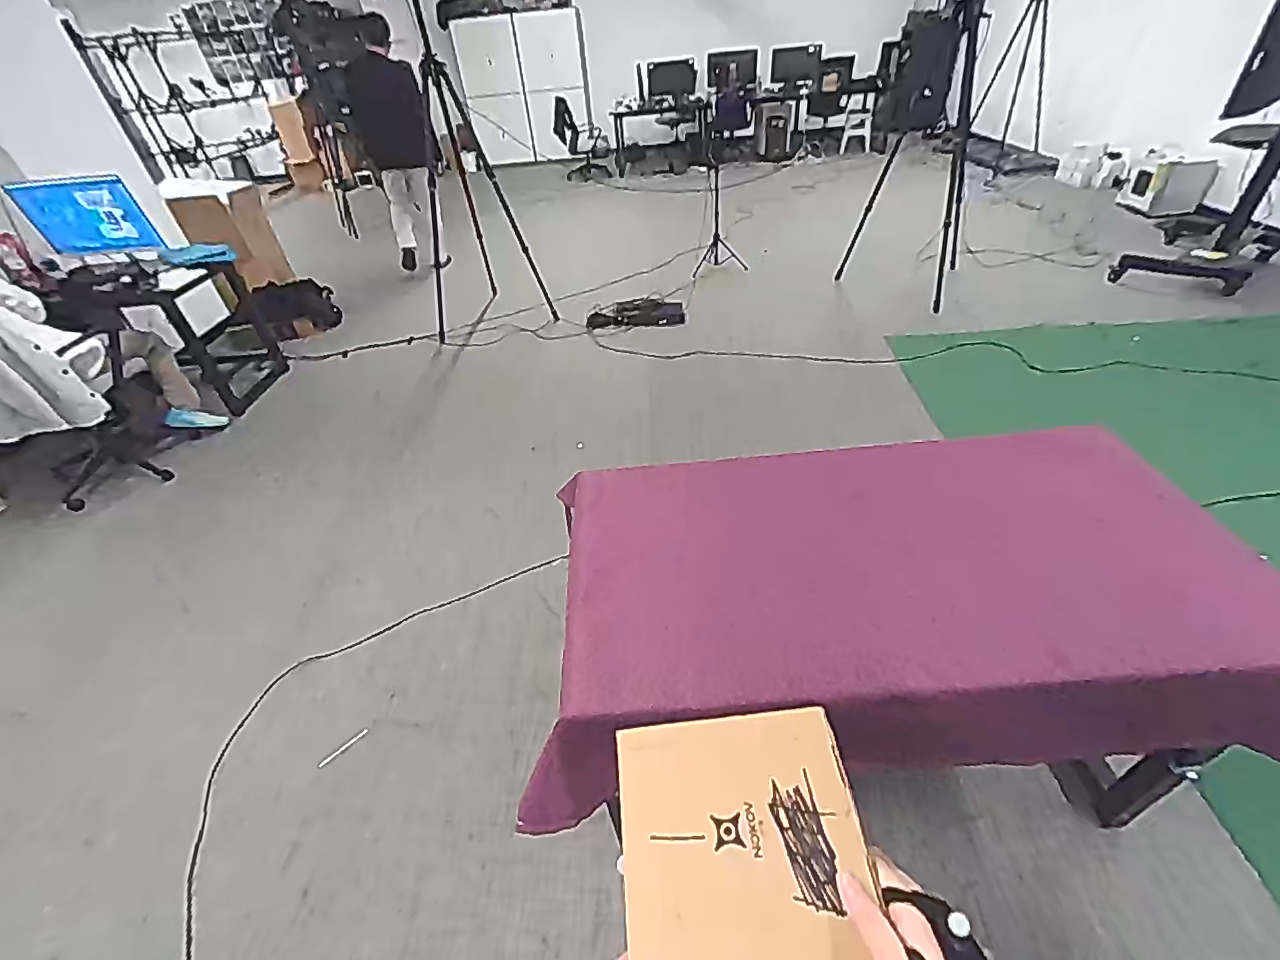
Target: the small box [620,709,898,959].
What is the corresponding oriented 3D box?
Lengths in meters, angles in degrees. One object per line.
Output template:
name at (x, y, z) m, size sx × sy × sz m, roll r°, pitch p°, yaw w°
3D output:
small box at (0.082, 0.314, 0.456) m, size 0.179 × 0.176 × 0.168 m, roll -8°, pitch 46°, yaw 2°
